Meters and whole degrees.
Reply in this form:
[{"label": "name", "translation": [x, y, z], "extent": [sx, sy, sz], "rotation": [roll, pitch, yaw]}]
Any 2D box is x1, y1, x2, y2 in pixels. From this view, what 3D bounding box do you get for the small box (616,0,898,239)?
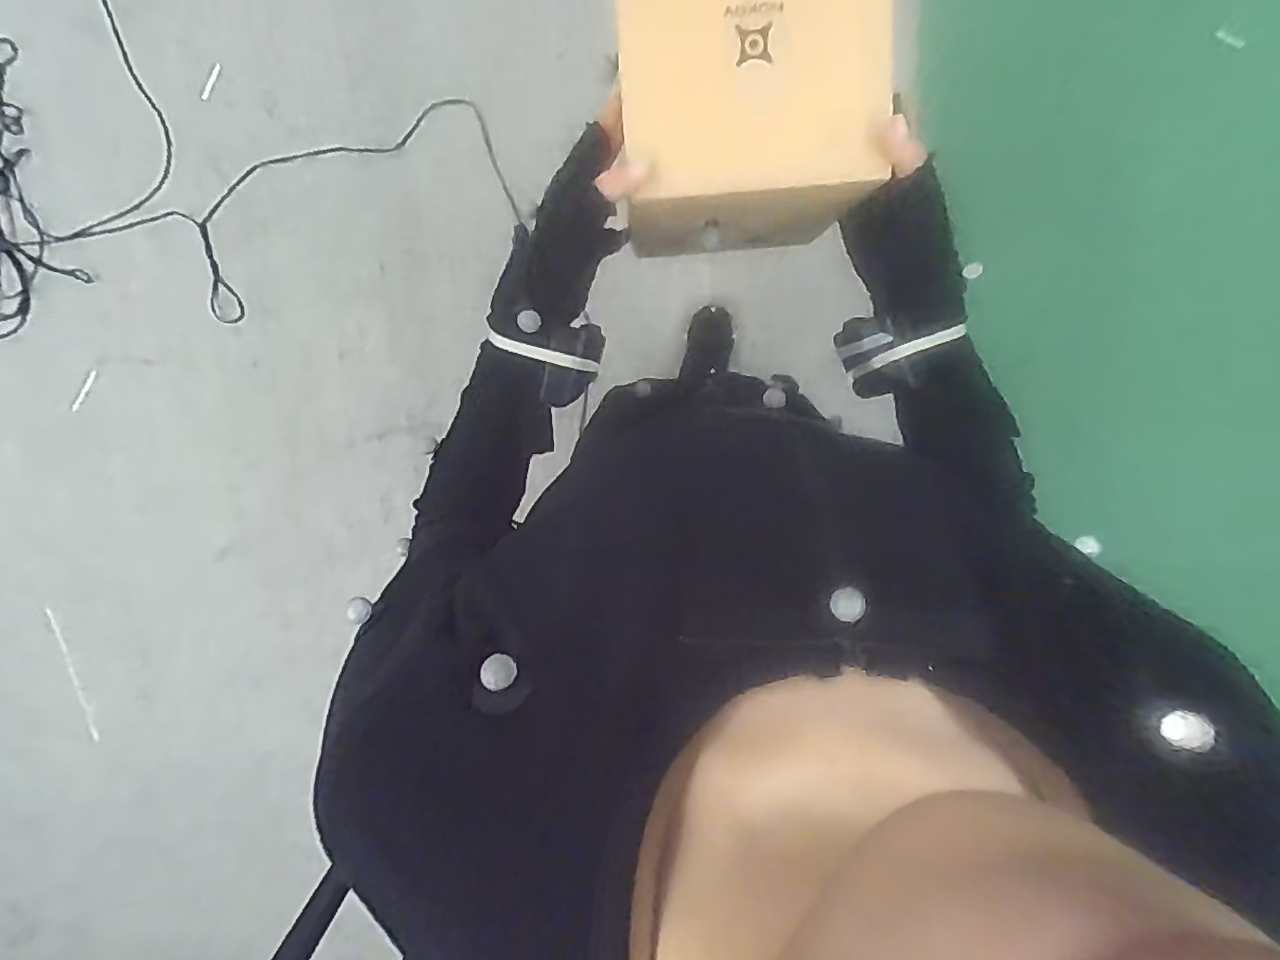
[{"label": "small box", "translation": [0.071, -0.289, 0.397], "extent": [0.168, 0.176, 0.179], "rotation": [-4, 99, 2]}]
